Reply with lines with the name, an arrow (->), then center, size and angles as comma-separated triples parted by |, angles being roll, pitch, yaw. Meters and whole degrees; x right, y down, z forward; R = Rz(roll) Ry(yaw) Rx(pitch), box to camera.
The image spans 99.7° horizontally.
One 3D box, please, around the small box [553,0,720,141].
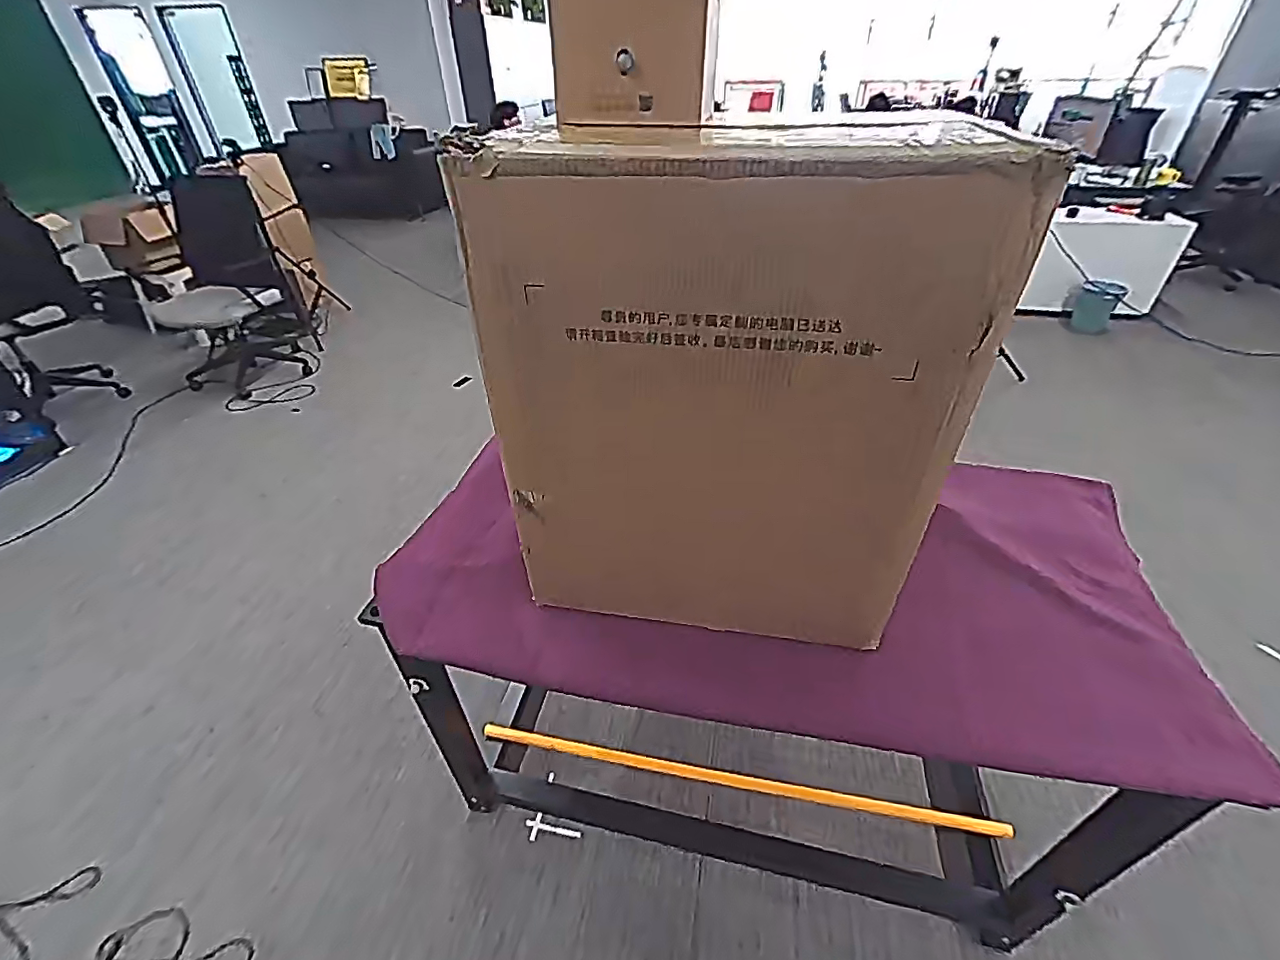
small box -> 0.001, -0.505, 0.630 | 0.168, 0.176, 0.179 | 6, 38, 9
